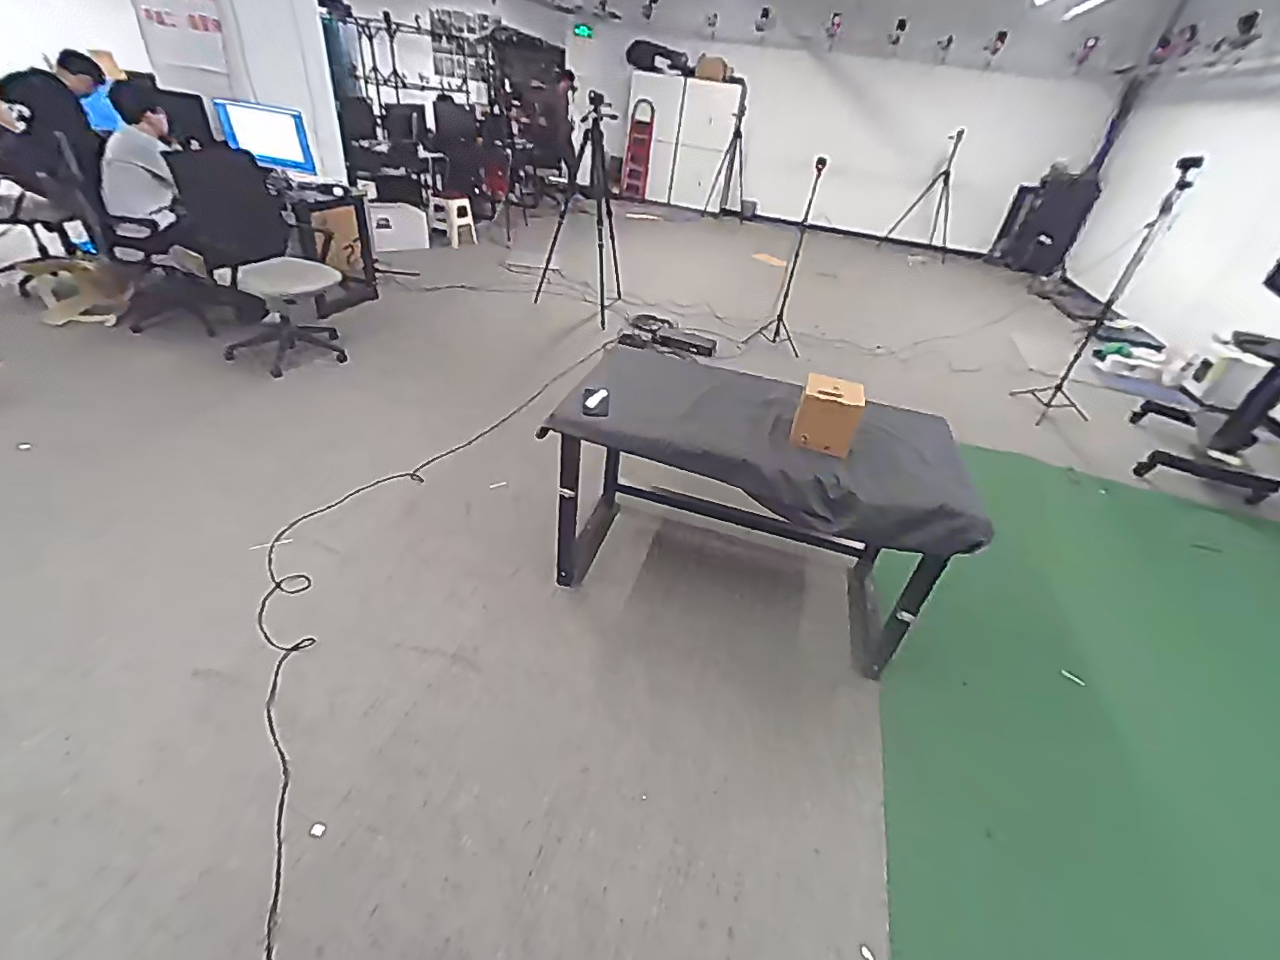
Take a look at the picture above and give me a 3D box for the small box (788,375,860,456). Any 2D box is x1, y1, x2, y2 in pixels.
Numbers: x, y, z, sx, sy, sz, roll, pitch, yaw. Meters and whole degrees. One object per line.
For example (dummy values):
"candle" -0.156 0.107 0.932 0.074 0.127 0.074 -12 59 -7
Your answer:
"small box" 0.549 -0.193 1.621 0.168 0.176 0.179 16 34 11
